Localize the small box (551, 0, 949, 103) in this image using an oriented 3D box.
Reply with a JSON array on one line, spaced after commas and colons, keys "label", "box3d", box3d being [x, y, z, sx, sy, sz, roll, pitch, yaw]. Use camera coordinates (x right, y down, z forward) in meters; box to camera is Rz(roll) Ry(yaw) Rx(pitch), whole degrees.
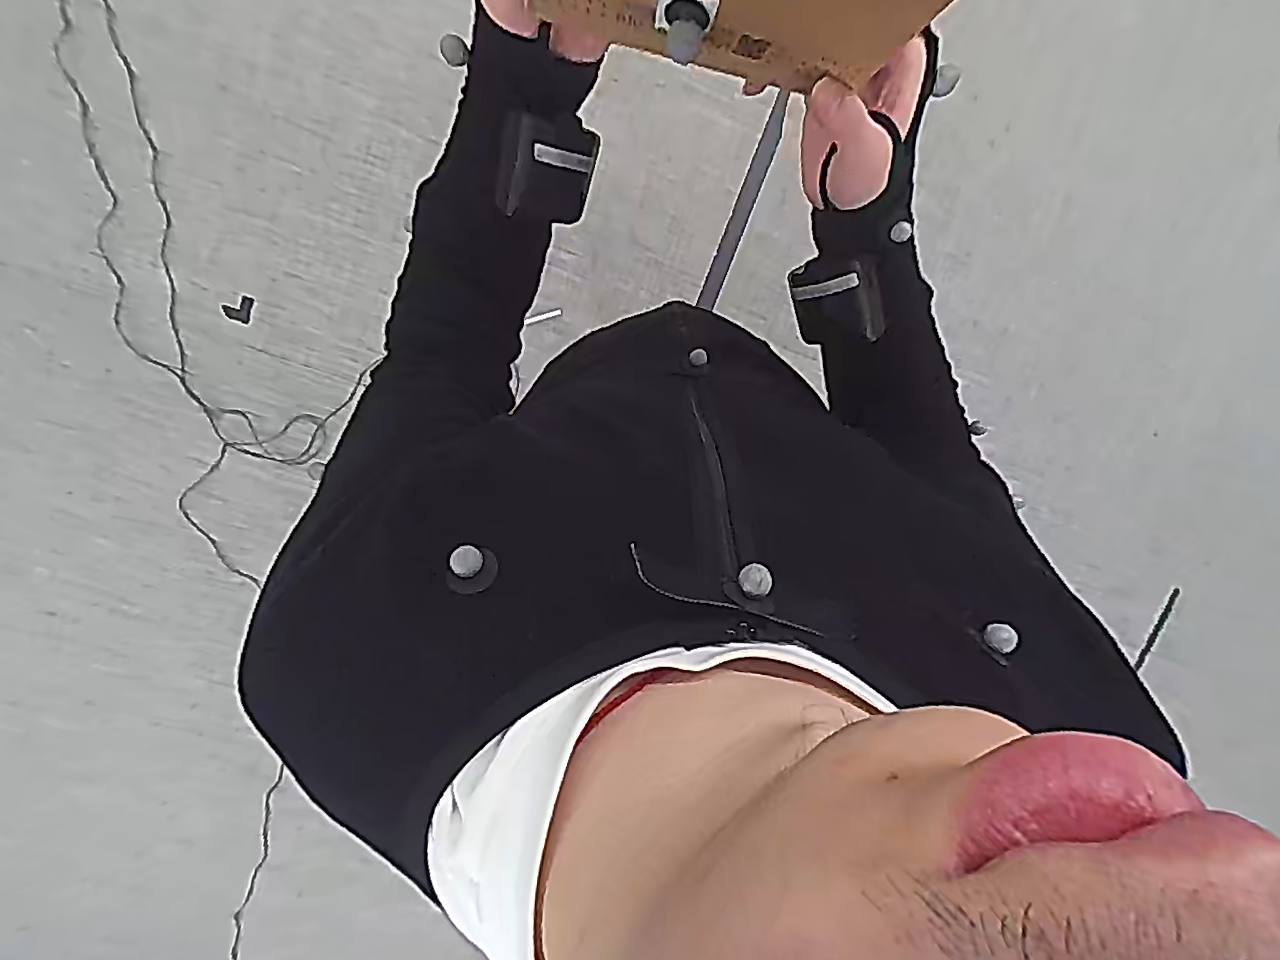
[{"label": "small box", "box3d": [0.055, -0.280, 0.187, 0.168, 0.176, 0.179, 5, 100, -11]}]
